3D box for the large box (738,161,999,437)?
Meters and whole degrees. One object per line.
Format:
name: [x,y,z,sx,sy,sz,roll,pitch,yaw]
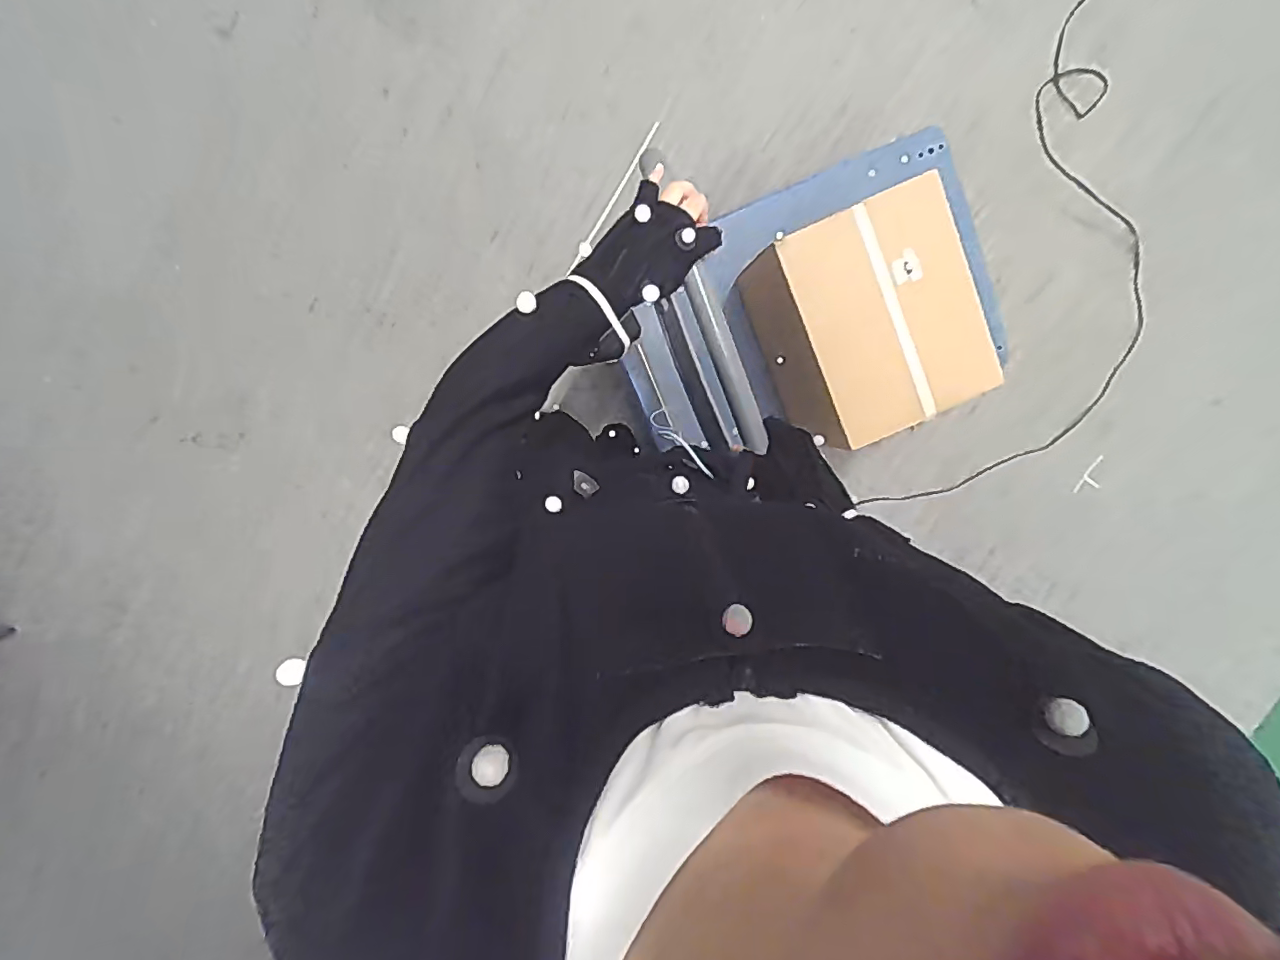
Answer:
large box: [0.441,-0.338,1.118,0.320,0.320,0.408,-24,98,1]
